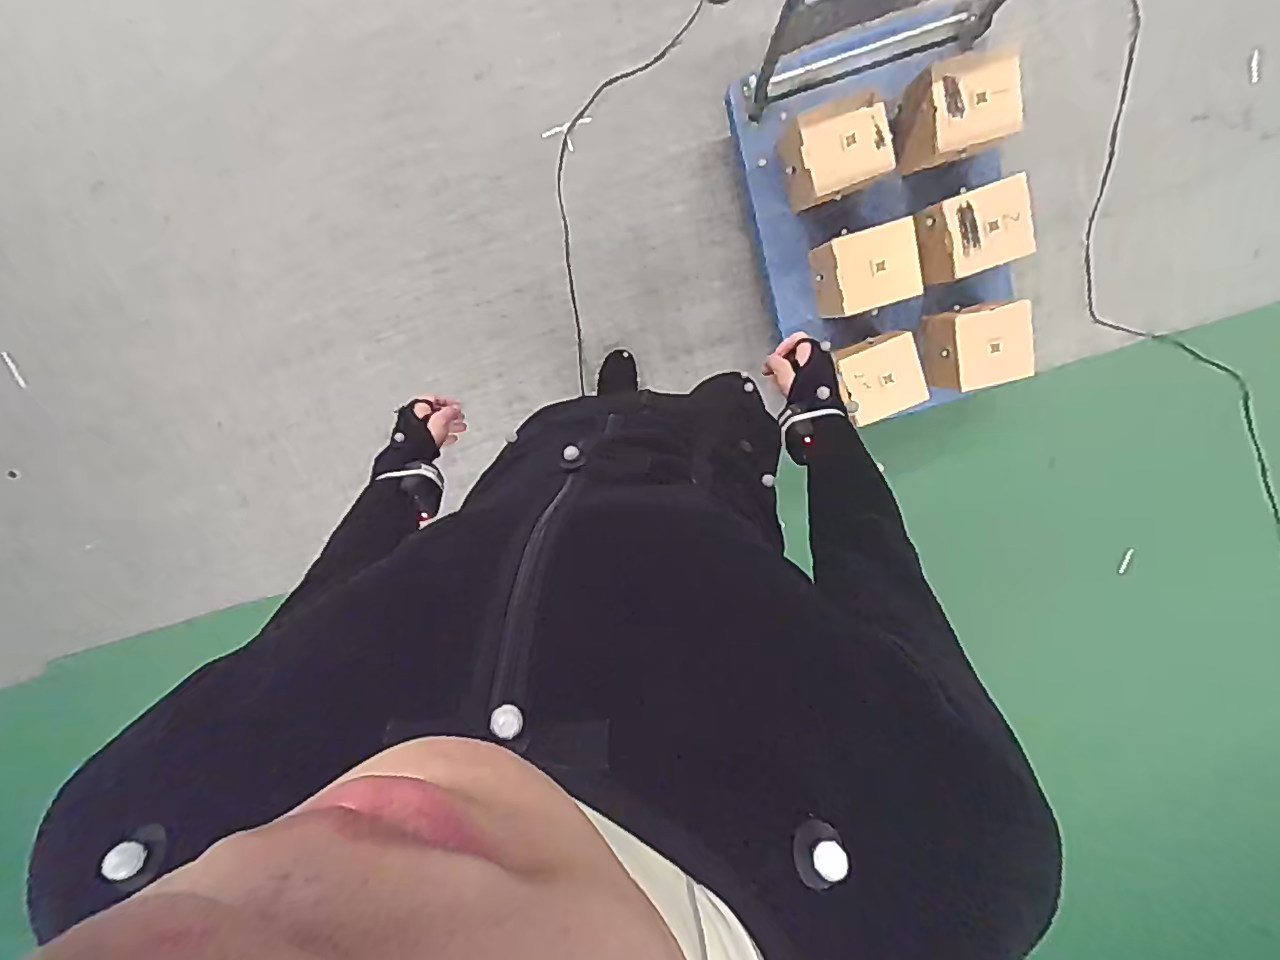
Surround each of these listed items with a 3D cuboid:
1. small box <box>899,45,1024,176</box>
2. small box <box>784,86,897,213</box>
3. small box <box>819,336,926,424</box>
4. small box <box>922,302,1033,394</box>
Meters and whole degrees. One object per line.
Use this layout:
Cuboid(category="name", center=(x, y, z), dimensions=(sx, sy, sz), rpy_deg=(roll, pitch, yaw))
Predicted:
Cuboid(category="small box", center=(0.678, -0.779, 1.160), dimensions=(0.179, 0.176, 0.168), rpy_deg=(-13, 106, 3))
Cuboid(category="small box", center=(0.426, -0.708, 1.180), dimensions=(0.179, 0.176, 0.168), rpy_deg=(-18, 105, 5))
Cuboid(category="small box", center=(0.554, -0.245, 1.306), dimensions=(0.179, 0.176, 0.168), rpy_deg=(-15, 102, 5))
Cuboid(category="small box", center=(0.796, -0.314, 1.290), dimensions=(0.168, 0.176, 0.179), rpy_deg=(-13, 105, 5))
